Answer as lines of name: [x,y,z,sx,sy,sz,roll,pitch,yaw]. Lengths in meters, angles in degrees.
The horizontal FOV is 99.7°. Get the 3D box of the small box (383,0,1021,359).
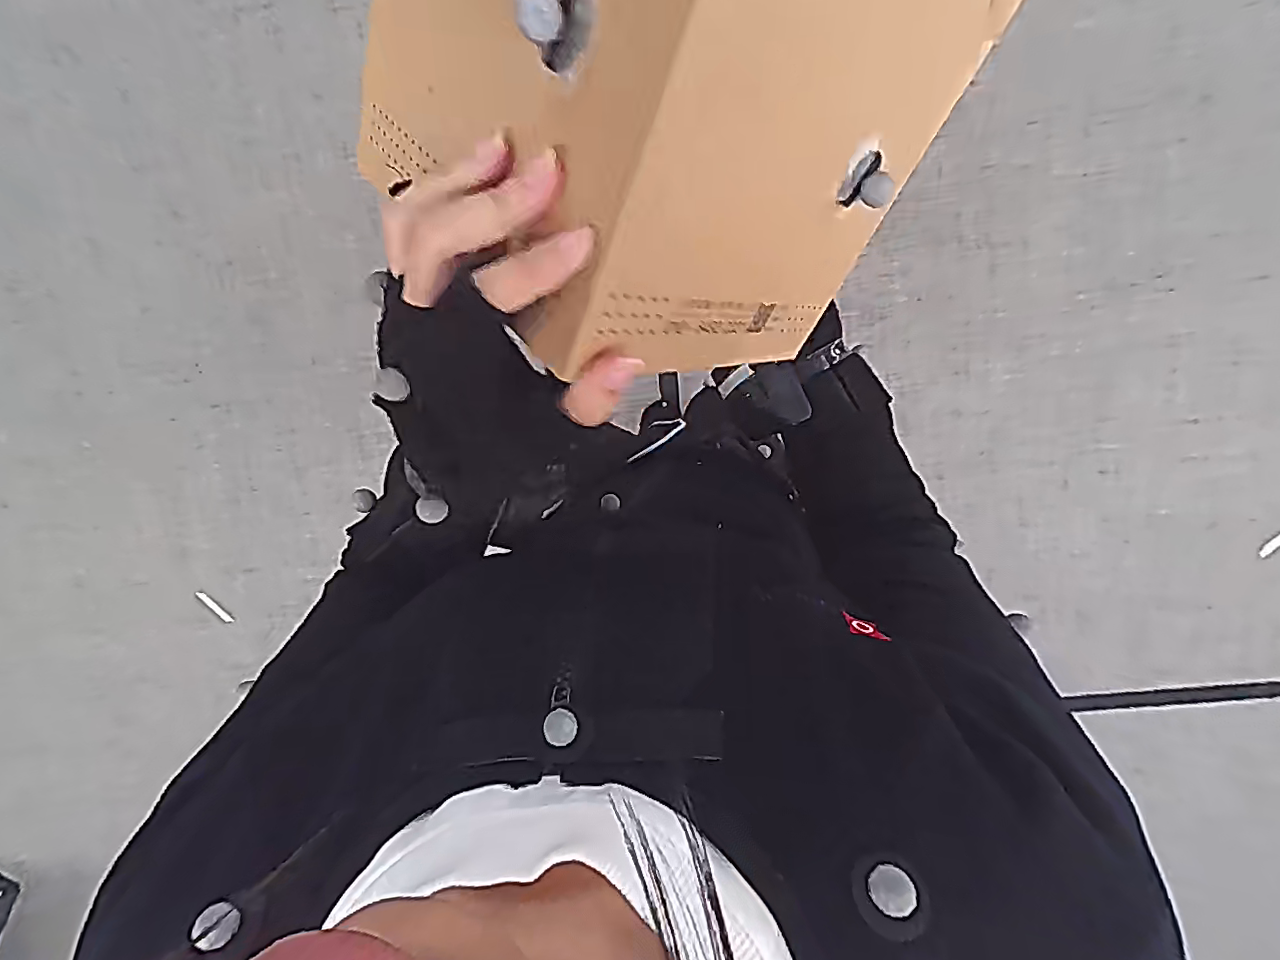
small box: [0.007,-0.166,0.235,0.179,0.168,0.176,48,130,27]
